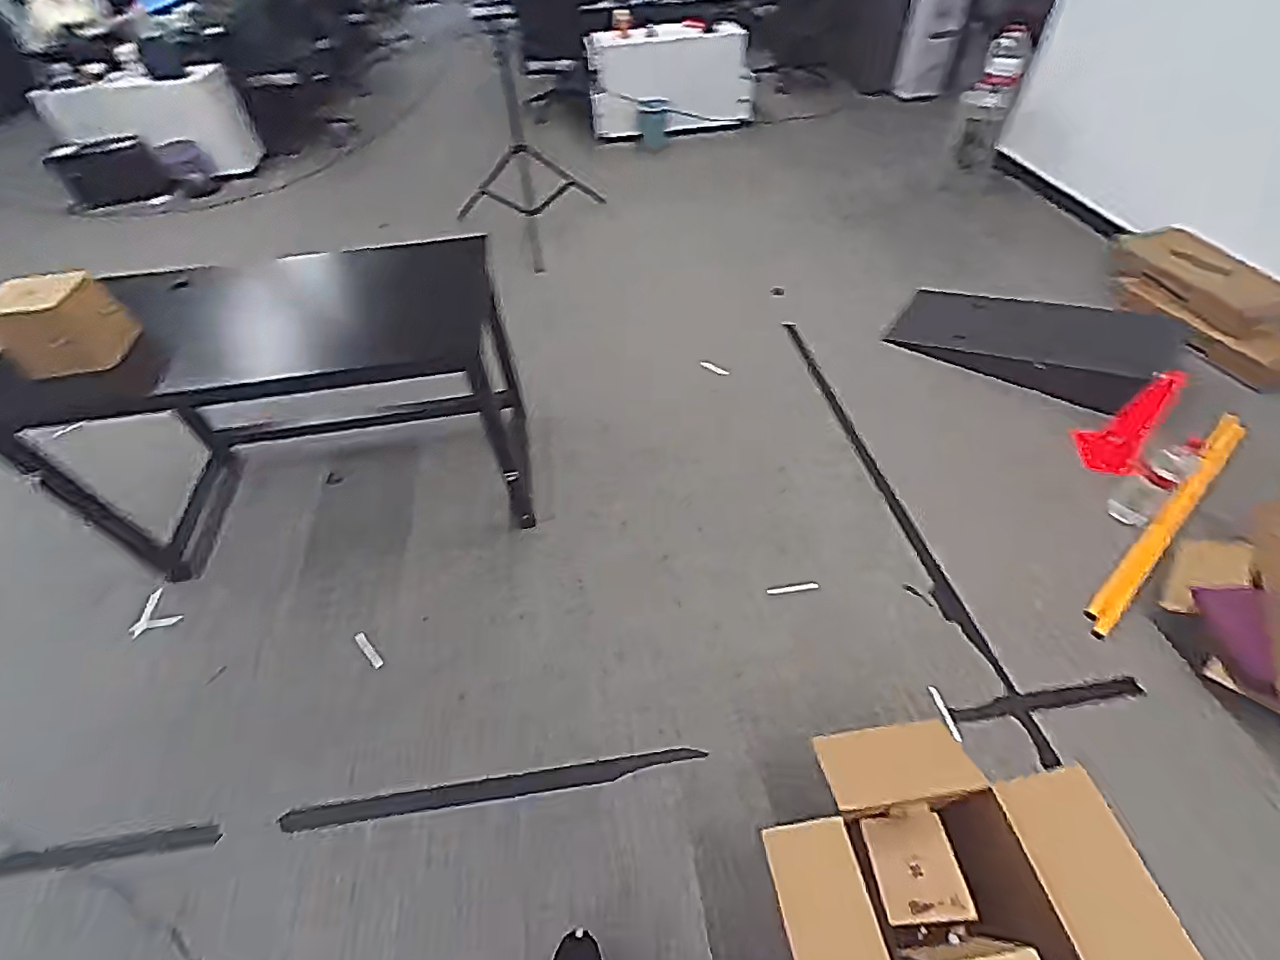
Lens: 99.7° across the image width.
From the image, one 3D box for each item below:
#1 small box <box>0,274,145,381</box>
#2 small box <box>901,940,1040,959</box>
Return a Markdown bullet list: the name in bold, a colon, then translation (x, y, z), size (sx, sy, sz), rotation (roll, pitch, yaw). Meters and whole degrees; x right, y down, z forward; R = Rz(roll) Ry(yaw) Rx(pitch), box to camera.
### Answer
- **small box**: translation (-1.341, -0.358, 1.277), size (0.179, 0.176, 0.168), rotation (-11, 49, -5)
- **small box**: translation (0.548, 0.858, 0.855), size (0.168, 0.176, 0.179), rotation (-6, 53, -3)
